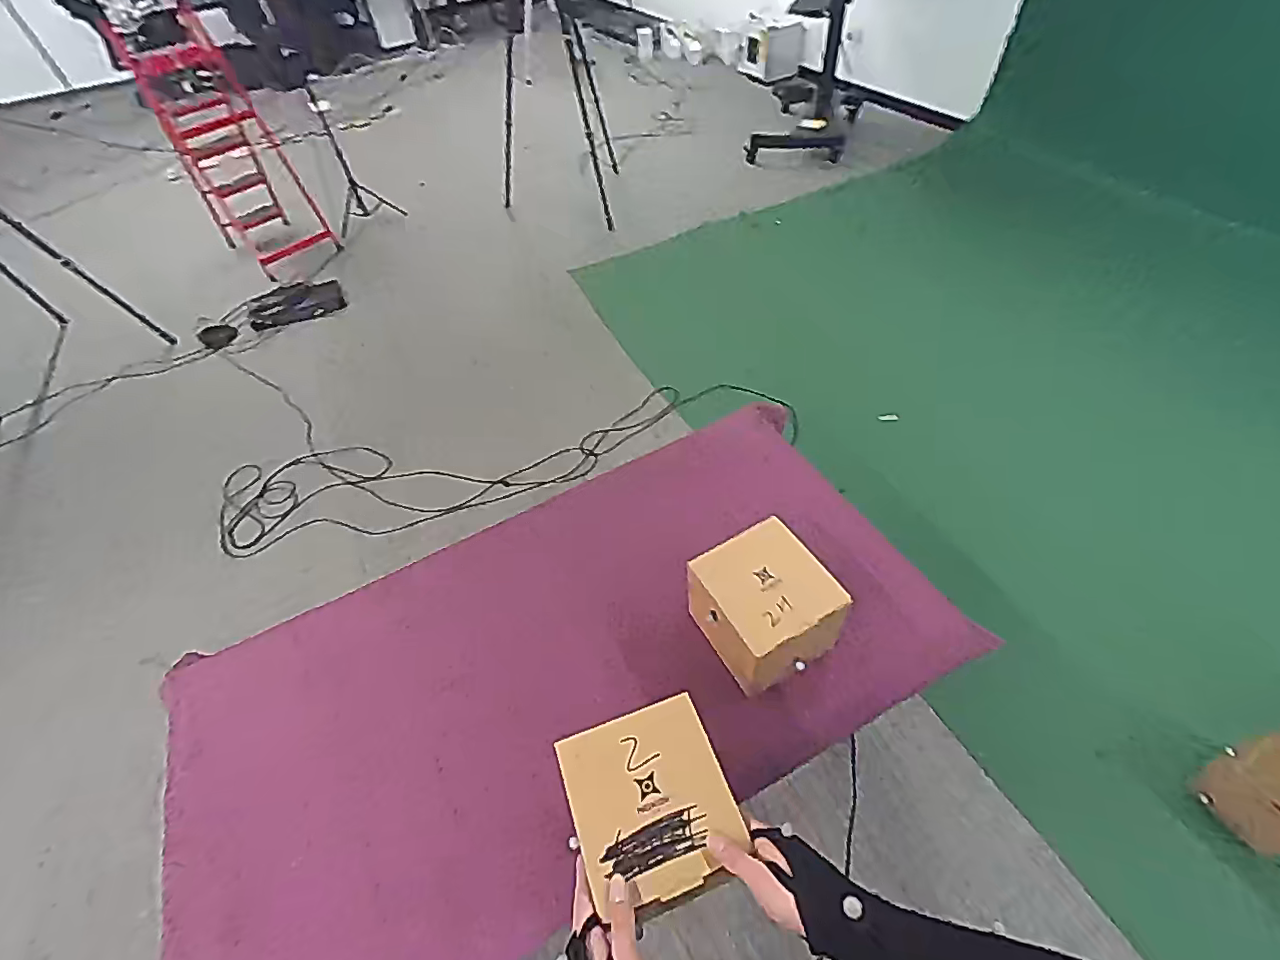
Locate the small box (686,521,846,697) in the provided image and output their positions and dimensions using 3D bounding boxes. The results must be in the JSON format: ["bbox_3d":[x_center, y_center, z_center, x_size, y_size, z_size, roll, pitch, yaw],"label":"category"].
[{"bbox_3d":[0.184,0.202,0.844,0.168,0.176,0.179,-25,52,-14],"label":"small box"}]

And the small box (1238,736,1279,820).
[{"bbox_3d":[1.425,0.630,1.117,0.179,0.176,0.168,-27,54,-16],"label":"small box"}]

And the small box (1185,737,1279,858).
[{"bbox_3d":[1.428,0.734,1.243,0.179,0.176,0.168,-26,53,-16],"label":"small box"}]
